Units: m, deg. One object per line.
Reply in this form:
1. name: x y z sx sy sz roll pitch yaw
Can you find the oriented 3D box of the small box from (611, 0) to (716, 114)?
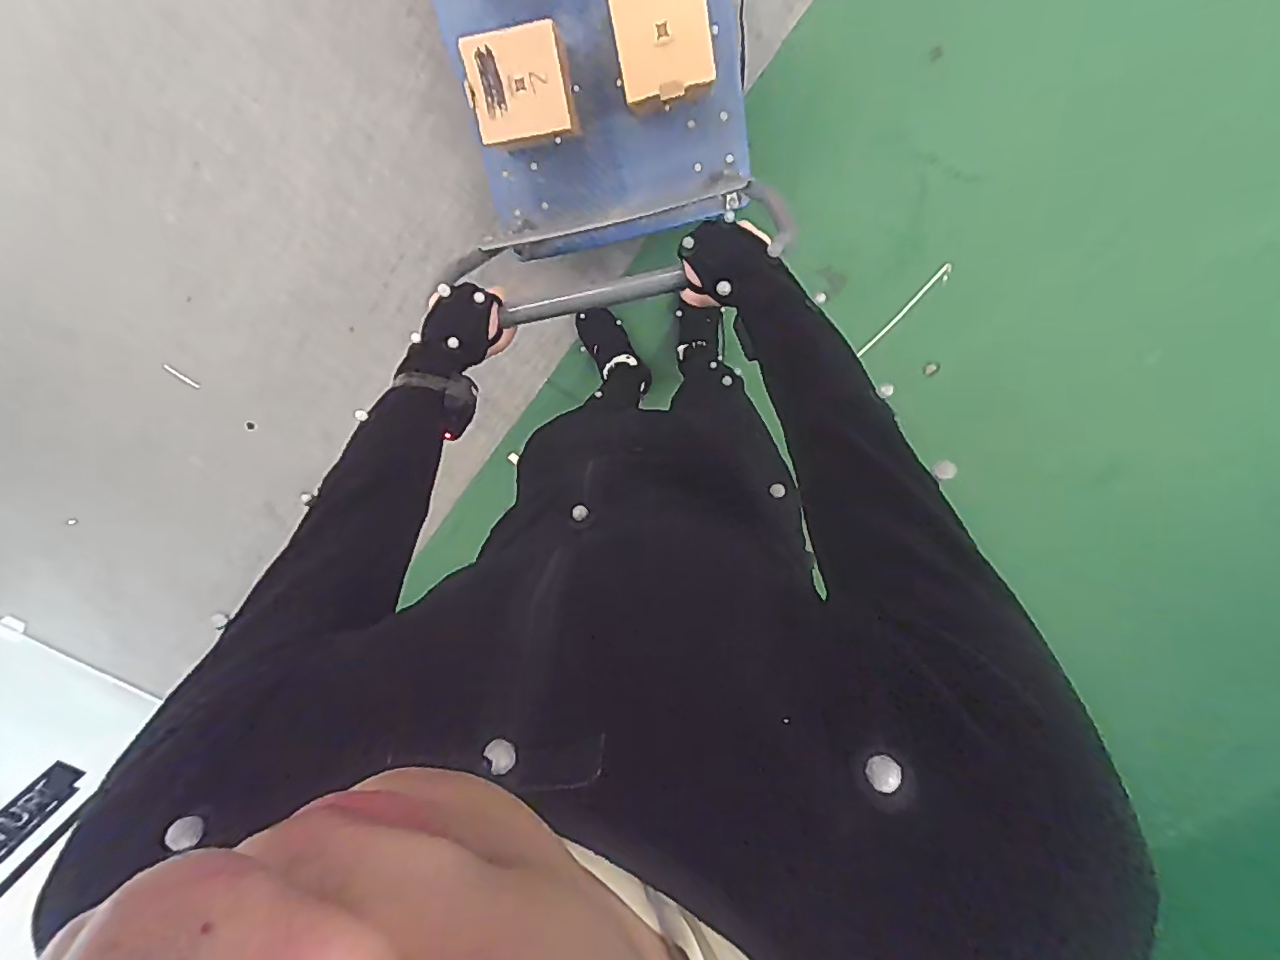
1. small box: 0.043 -0.813 1.011 0.168 0.176 0.179 -10 118 8
